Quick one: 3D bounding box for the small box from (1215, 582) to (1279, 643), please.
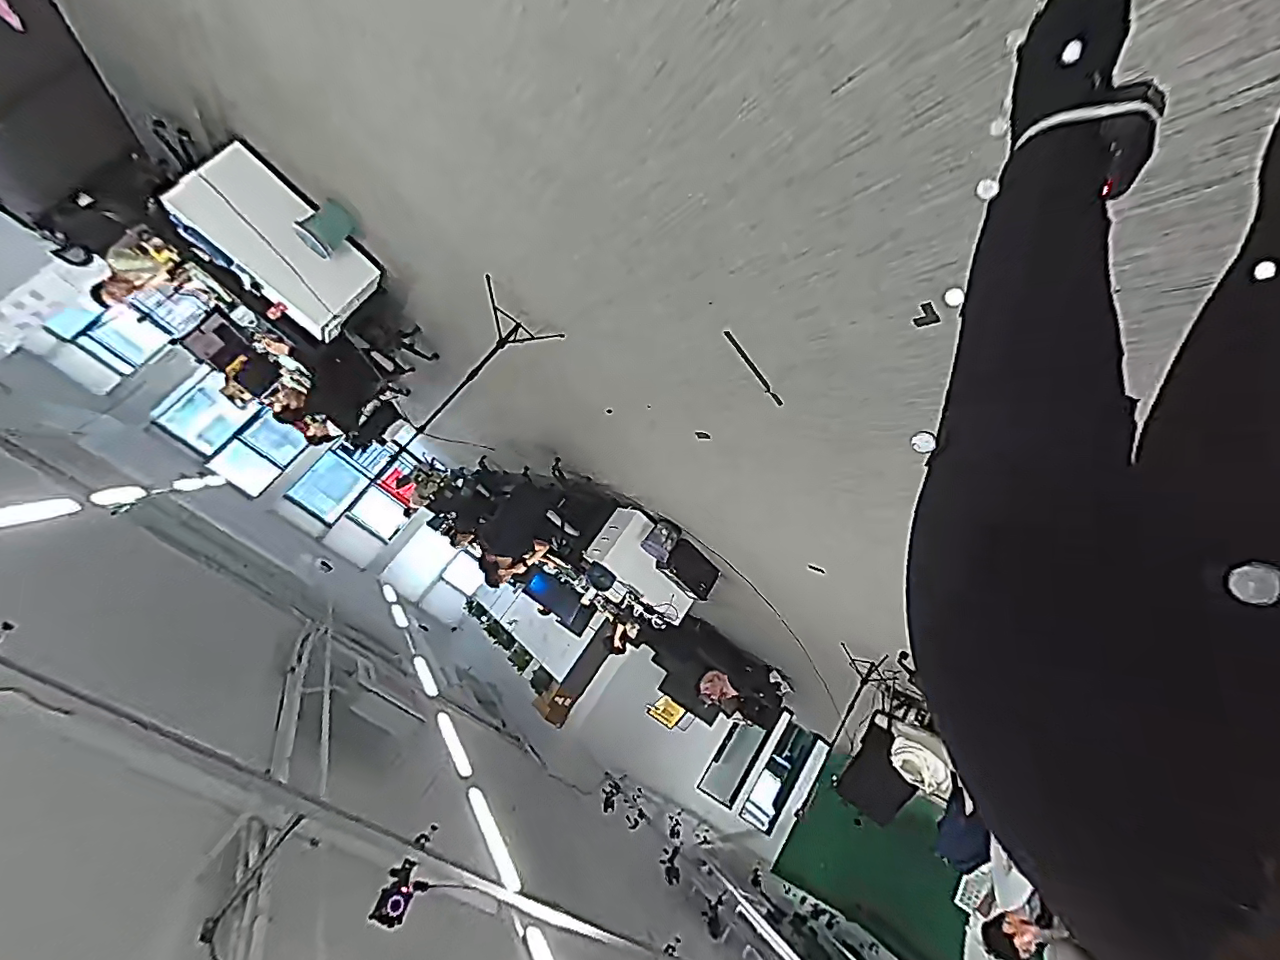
[{"bbox_3d":[1.751,0.406,1.501,0.168,0.176,0.179,45,162,-27],"label":"small box"}]
